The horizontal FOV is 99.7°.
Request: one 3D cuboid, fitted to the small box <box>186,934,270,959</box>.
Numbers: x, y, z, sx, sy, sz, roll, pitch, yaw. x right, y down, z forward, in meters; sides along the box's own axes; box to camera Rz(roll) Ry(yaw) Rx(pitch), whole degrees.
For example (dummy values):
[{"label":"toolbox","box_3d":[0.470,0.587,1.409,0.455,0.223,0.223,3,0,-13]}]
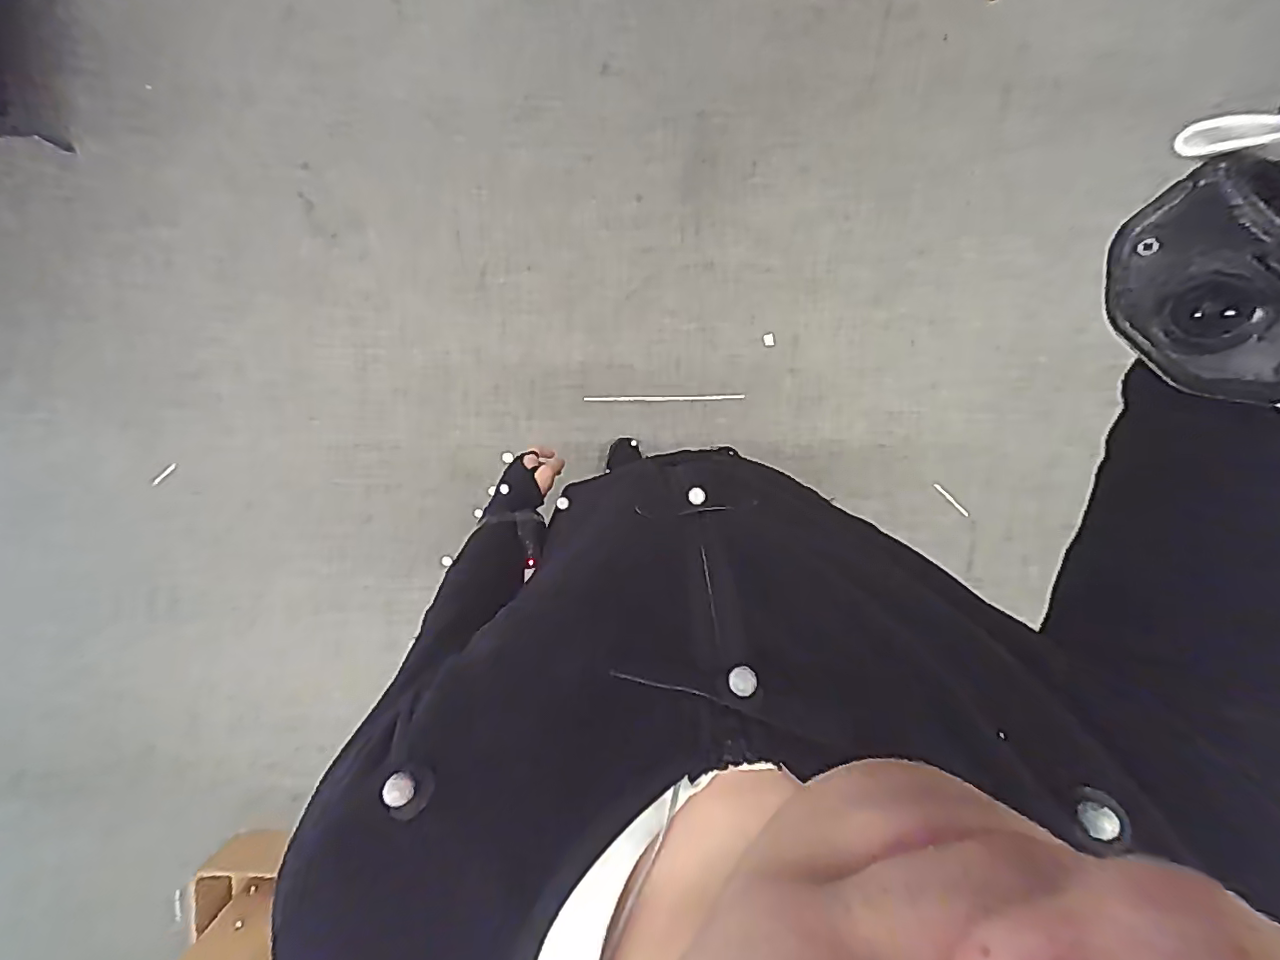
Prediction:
[{"label":"small box","box_3d":[-1.112,1.339,1.414,0.179,0.176,0.168,1,95,1]}]
